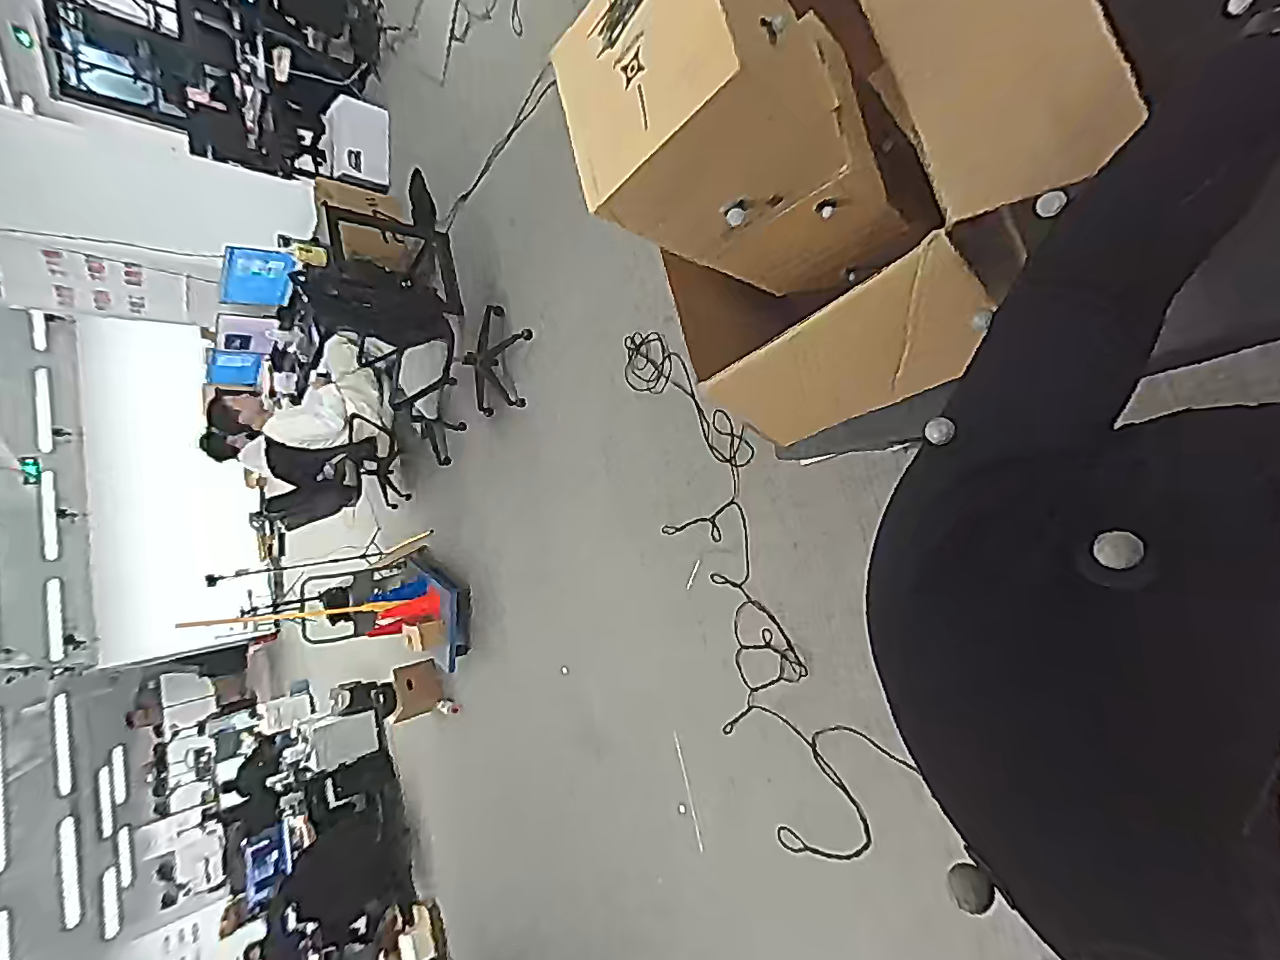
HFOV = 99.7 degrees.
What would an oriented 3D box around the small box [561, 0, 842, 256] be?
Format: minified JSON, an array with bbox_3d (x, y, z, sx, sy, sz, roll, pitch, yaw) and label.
[{"bbox_3d":[0.056,-0.340,0.492,0.168,0.176,0.179,-22,76,42],"label":"small box"}]
